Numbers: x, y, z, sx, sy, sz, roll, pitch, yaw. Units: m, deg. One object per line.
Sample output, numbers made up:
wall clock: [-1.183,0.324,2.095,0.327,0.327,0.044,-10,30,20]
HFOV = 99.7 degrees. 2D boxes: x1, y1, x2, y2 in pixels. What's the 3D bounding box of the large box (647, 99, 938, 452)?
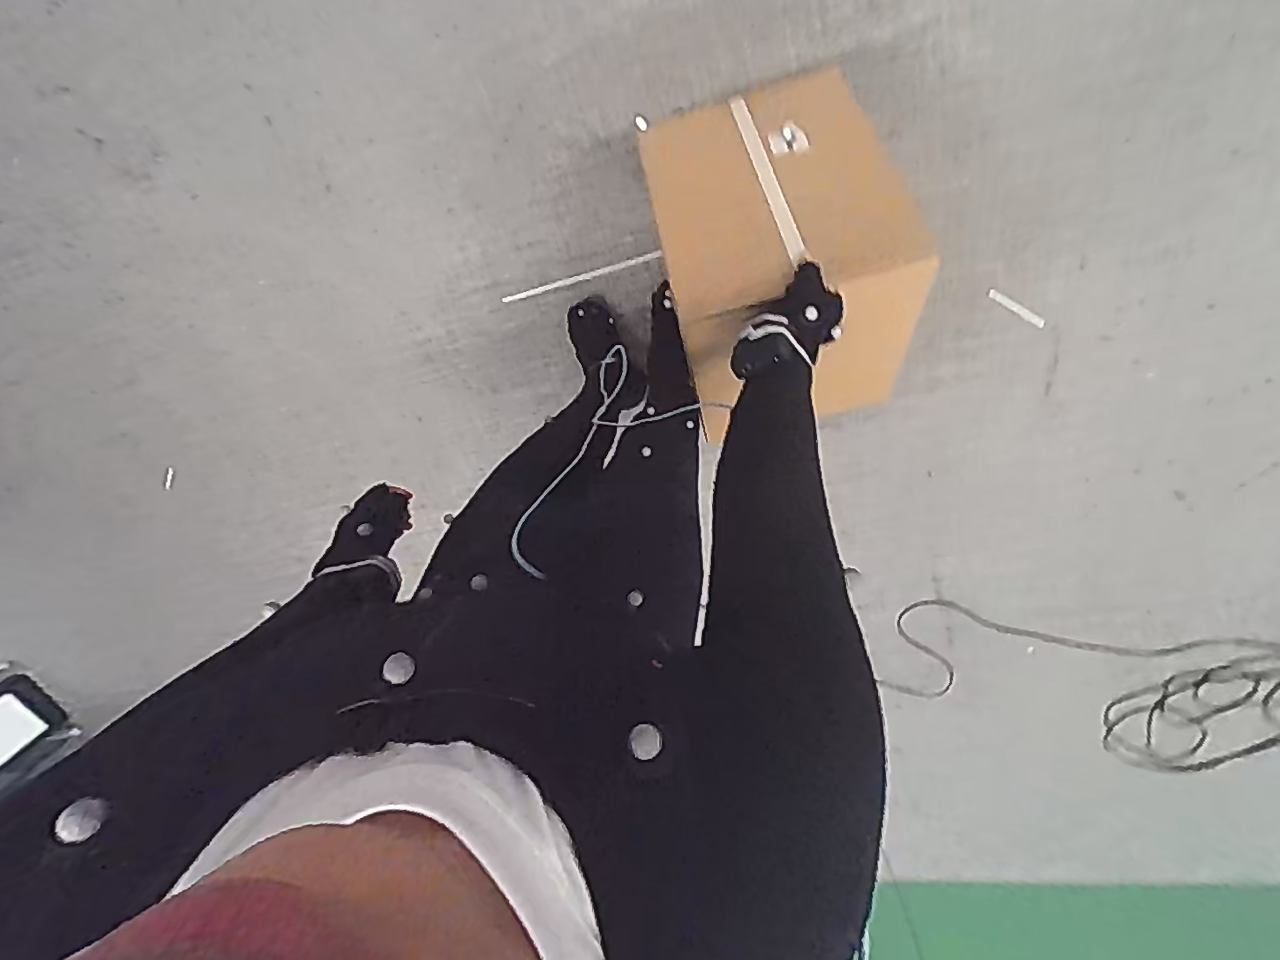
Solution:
large box: [0.219,-0.315,0.887,0.320,0.408,0.320,-12,152,7]
